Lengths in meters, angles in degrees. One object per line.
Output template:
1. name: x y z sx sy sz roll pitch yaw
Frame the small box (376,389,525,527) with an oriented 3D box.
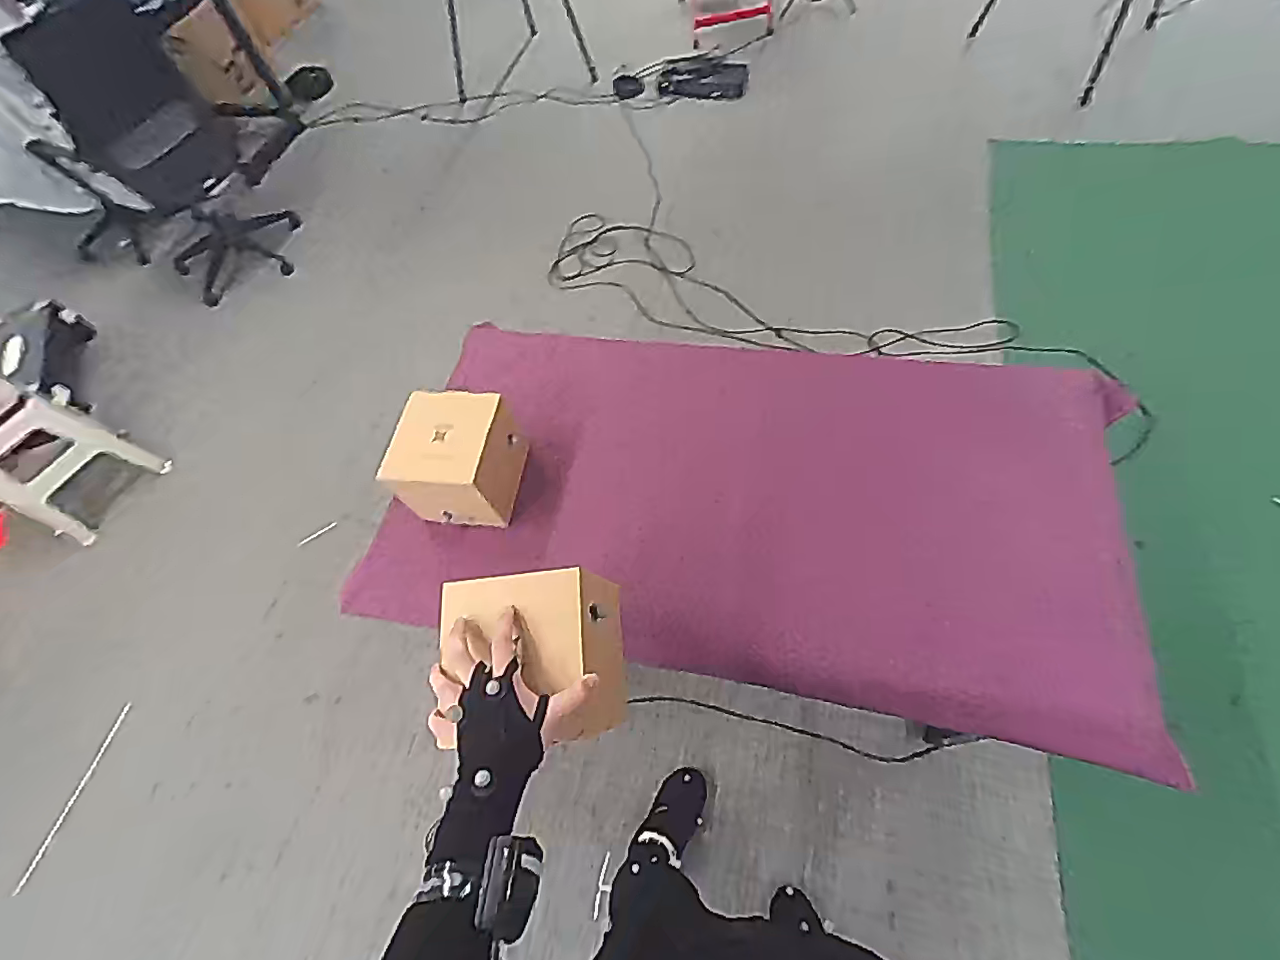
1. small box: -0.315 -0.036 0.943 0.168 0.176 0.179 3 62 10

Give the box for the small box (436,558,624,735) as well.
1. small box: -0.120 0.201 0.651 0.168 0.176 0.179 -8 71 12
